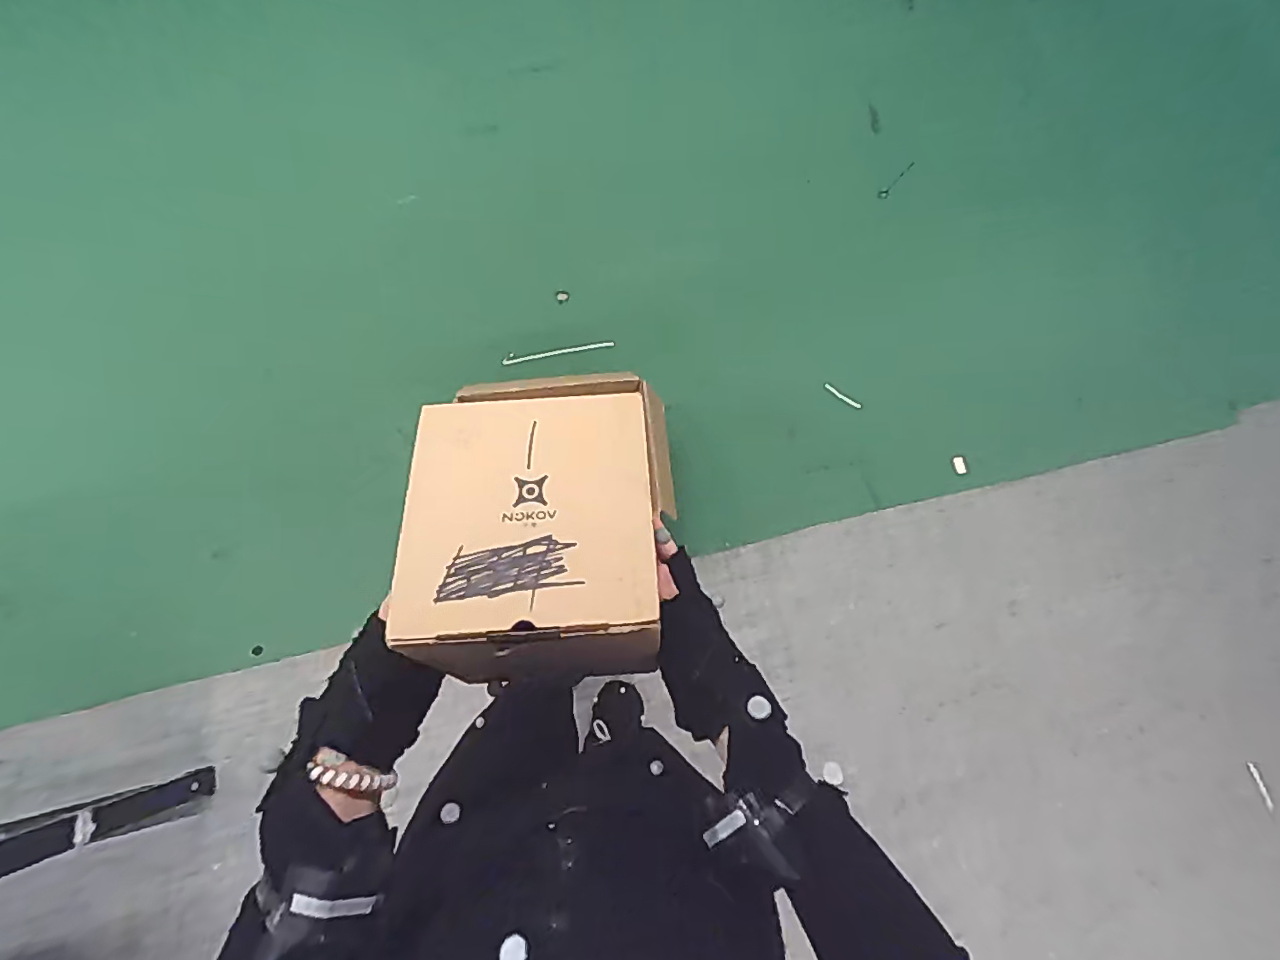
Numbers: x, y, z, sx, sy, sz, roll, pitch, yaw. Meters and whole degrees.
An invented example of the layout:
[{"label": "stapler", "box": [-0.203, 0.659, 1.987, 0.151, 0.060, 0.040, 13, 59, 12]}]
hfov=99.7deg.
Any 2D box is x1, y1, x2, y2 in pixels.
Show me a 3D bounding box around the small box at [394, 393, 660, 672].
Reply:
[{"label": "small box", "box": [-0.070, 0.052, 0.432, 0.168, 0.176, 0.179, -3, 61, -2]}]
